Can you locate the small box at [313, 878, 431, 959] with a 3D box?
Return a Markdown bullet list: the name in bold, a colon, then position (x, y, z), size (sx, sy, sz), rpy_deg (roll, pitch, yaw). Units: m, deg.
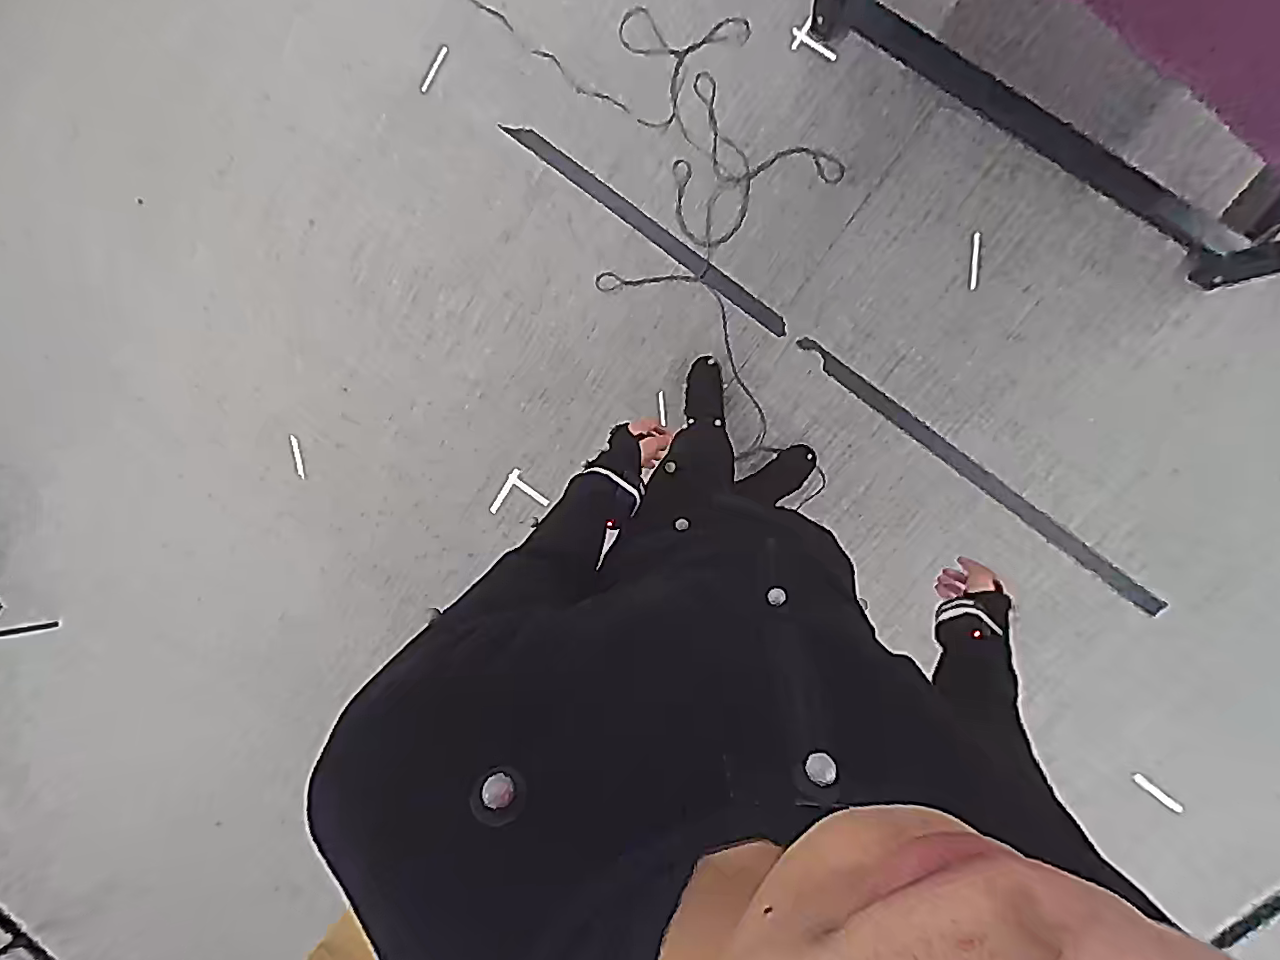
- **small box**: position (-0.542, 0.941, 1.057), size (0.168, 0.176, 0.179), rpy_deg (34, 104, 5)
